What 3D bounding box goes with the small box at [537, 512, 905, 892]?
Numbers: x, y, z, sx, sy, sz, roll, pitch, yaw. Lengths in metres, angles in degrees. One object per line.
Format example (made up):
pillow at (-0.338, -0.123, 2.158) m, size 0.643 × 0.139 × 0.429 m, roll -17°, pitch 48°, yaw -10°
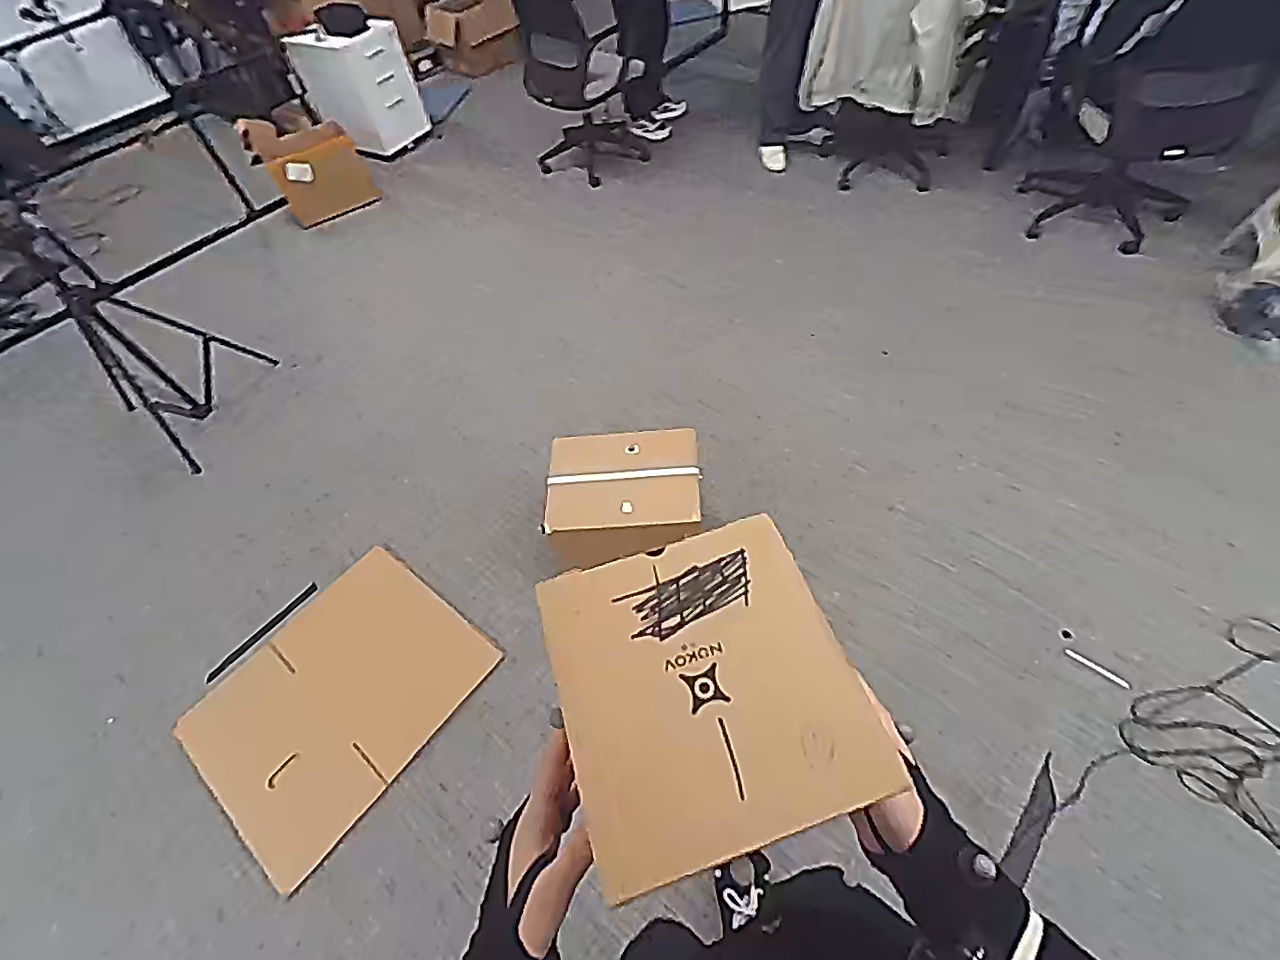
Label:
small box at (0.039, 0.155, 0.378) m, size 0.168 × 0.176 × 0.179 m, roll -17°, pitch 56°, yaw -7°
